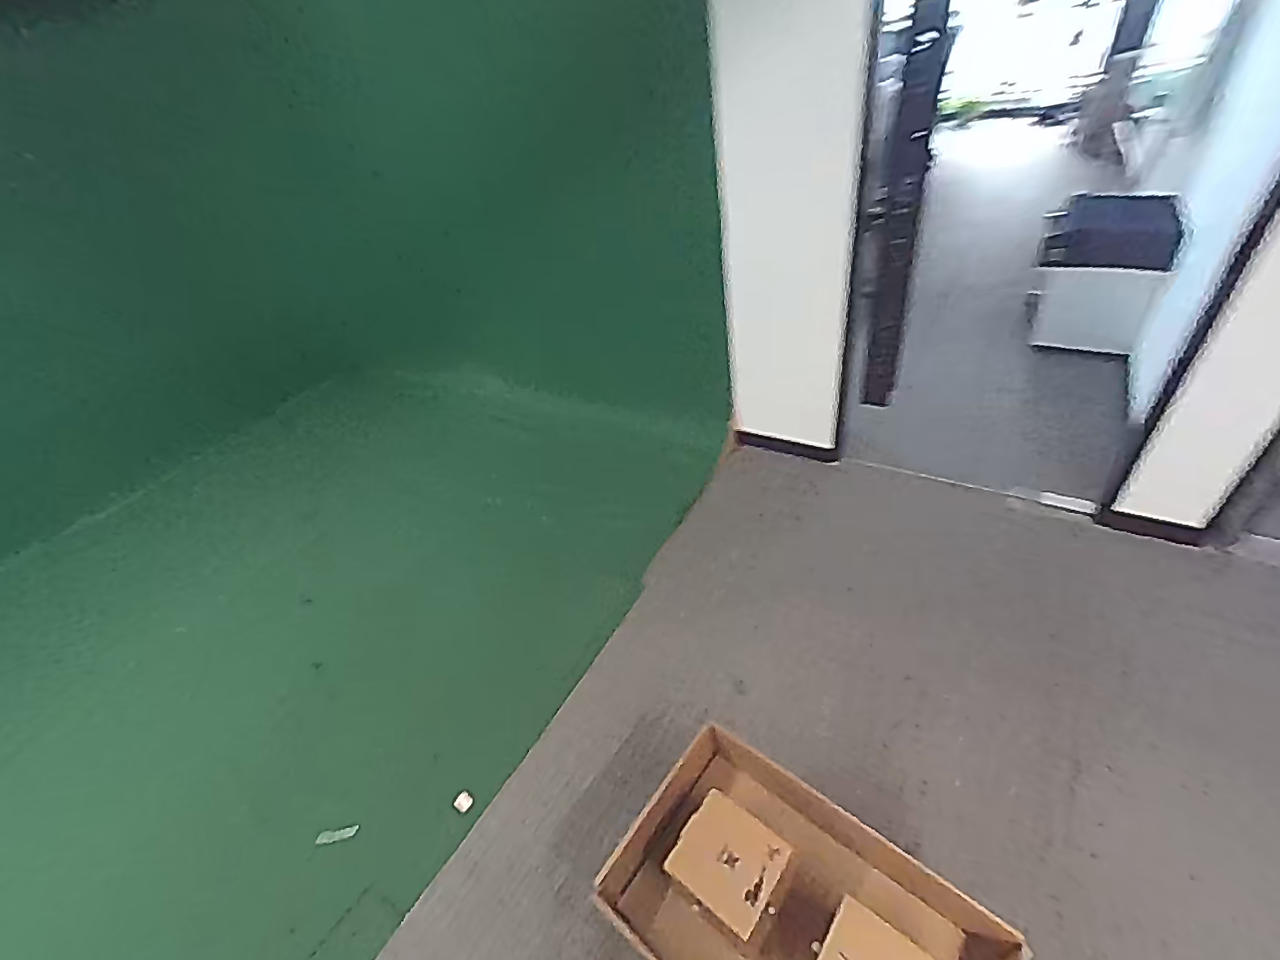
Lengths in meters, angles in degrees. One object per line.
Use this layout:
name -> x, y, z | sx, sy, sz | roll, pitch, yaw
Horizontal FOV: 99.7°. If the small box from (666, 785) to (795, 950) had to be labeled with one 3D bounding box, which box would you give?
small box -> 0.174, 0.728, 1.015 | 0.179, 0.176, 0.168 | 23, 51, 36
